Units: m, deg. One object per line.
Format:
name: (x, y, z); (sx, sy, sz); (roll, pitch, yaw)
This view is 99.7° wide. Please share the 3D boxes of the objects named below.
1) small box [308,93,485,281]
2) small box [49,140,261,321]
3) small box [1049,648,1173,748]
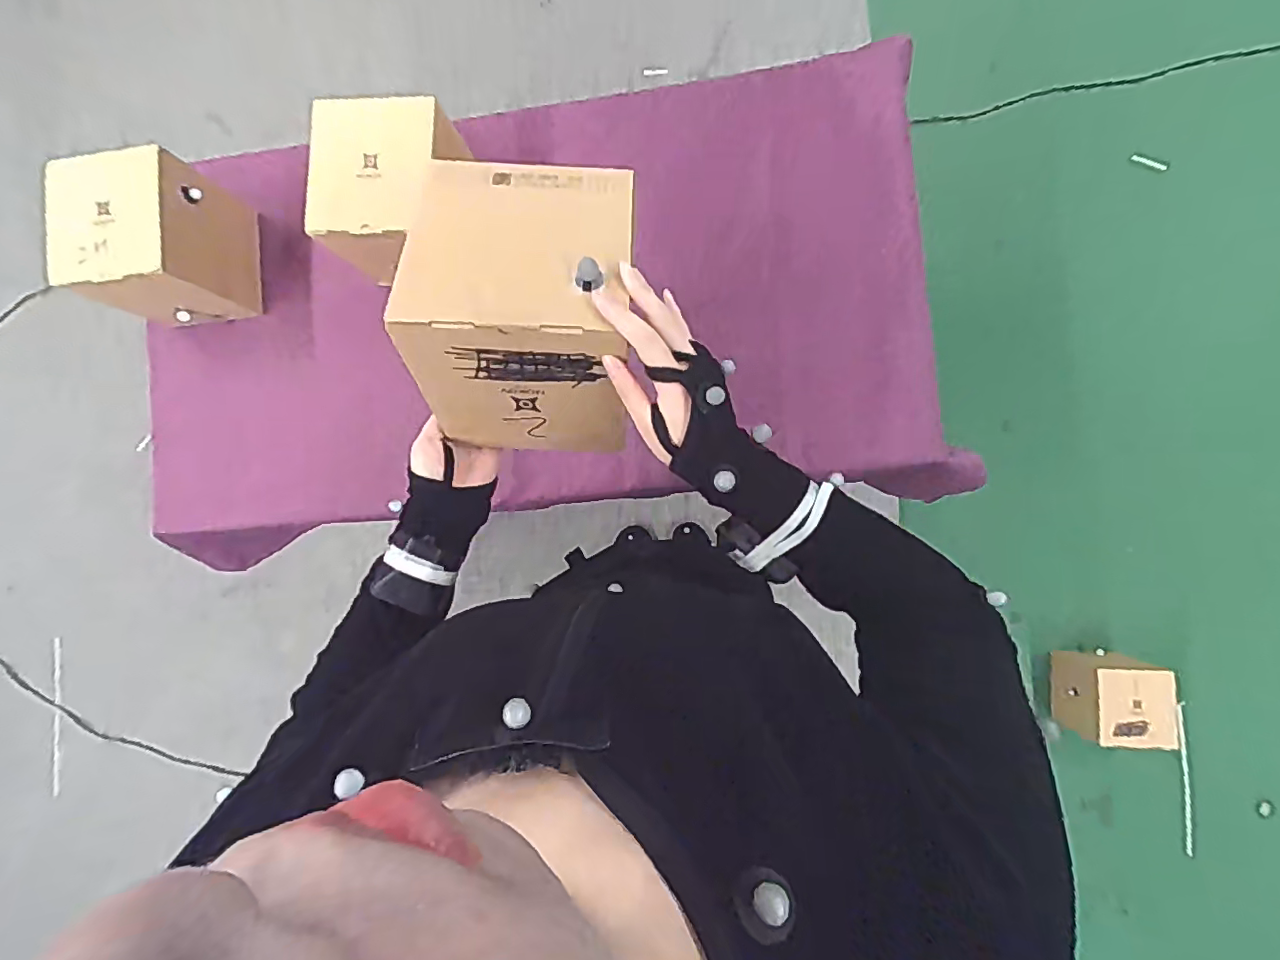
small box: (-0.329, -0.400, 0.761); (0.168, 0.176, 0.179); (2, 90, 6)
small box: (-0.694, -0.352, 0.792); (0.168, 0.176, 0.179); (-5, 87, 6)
small box: (1.123, 0.517, 1.301); (0.168, 0.176, 0.179); (1, 86, 6)
